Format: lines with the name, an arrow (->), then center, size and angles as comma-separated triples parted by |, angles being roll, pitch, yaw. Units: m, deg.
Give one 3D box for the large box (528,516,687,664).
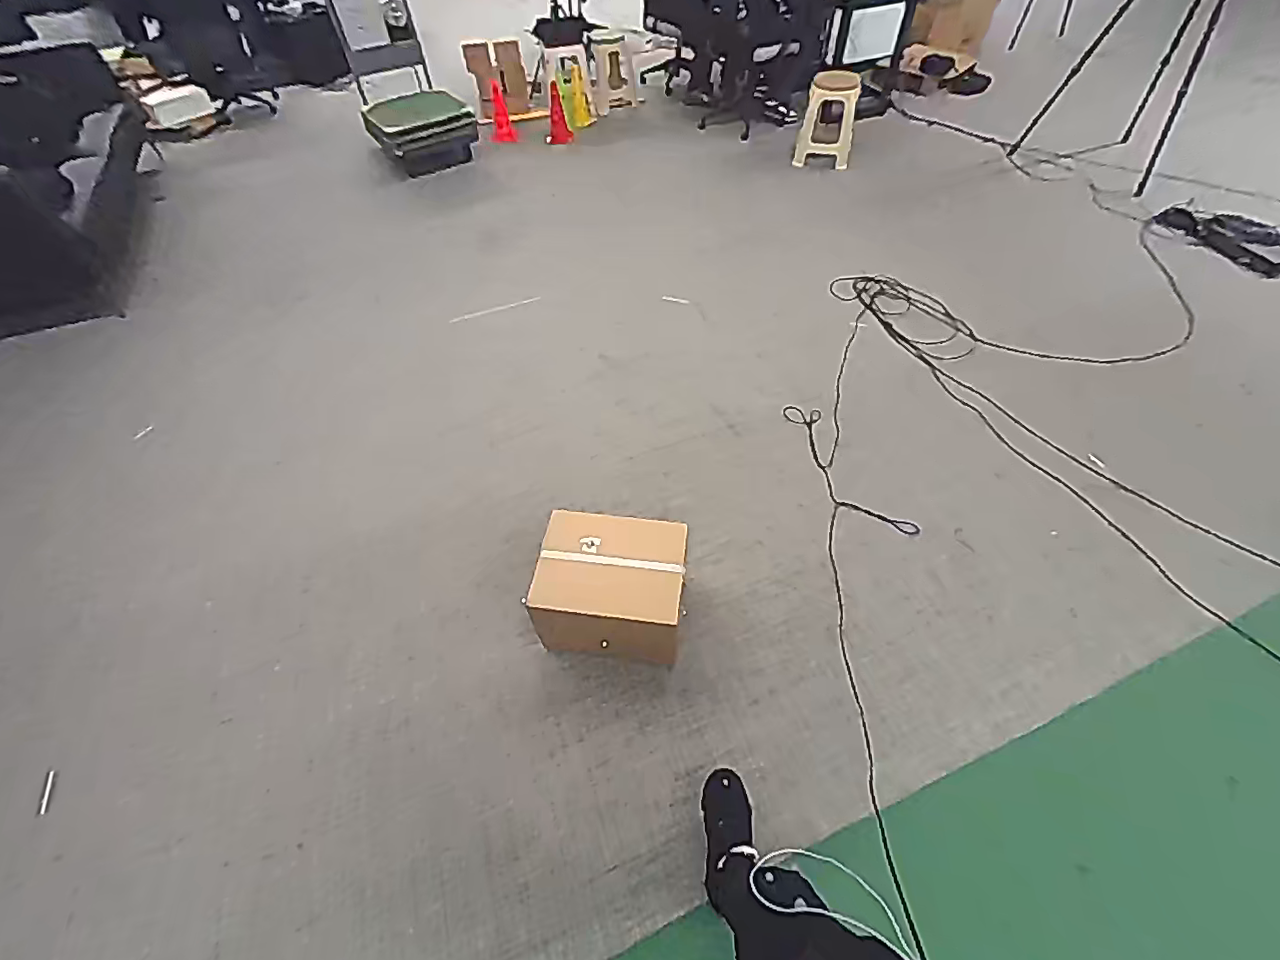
large box -> -0.070, 0.329, 1.605 | 0.408, 0.320, 0.320 | 5, 52, 8
